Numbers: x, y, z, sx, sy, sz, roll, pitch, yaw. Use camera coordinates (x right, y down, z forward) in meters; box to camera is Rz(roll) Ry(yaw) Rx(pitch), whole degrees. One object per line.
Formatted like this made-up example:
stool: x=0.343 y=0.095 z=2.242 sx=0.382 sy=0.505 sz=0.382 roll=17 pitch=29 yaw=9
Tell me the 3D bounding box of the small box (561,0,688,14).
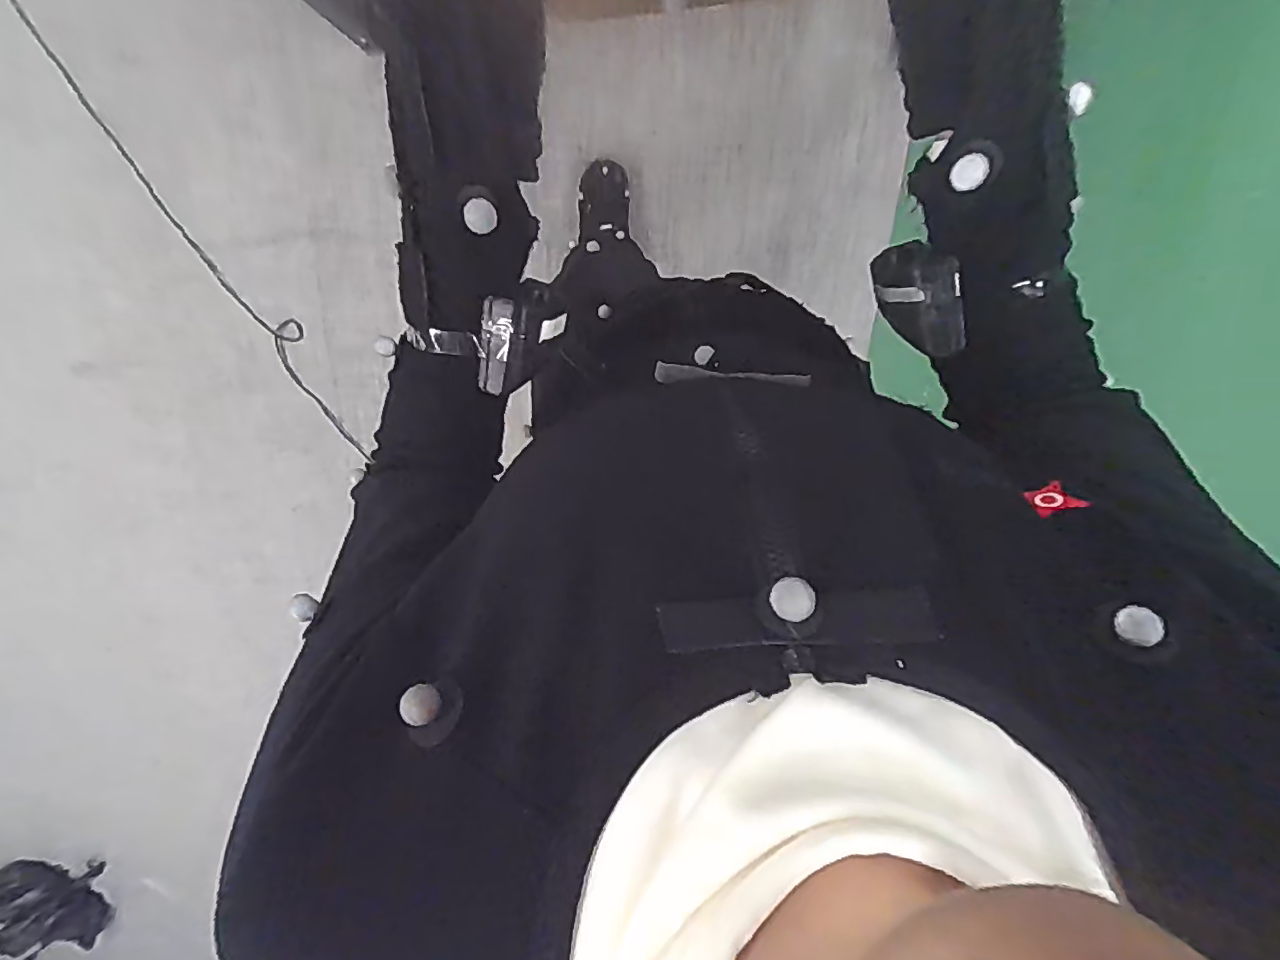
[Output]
small box: x=0.012 y=-0.351 z=0.234 sx=0.168 sy=0.176 sz=0.179 roll=-4 pitch=113 yaw=3
